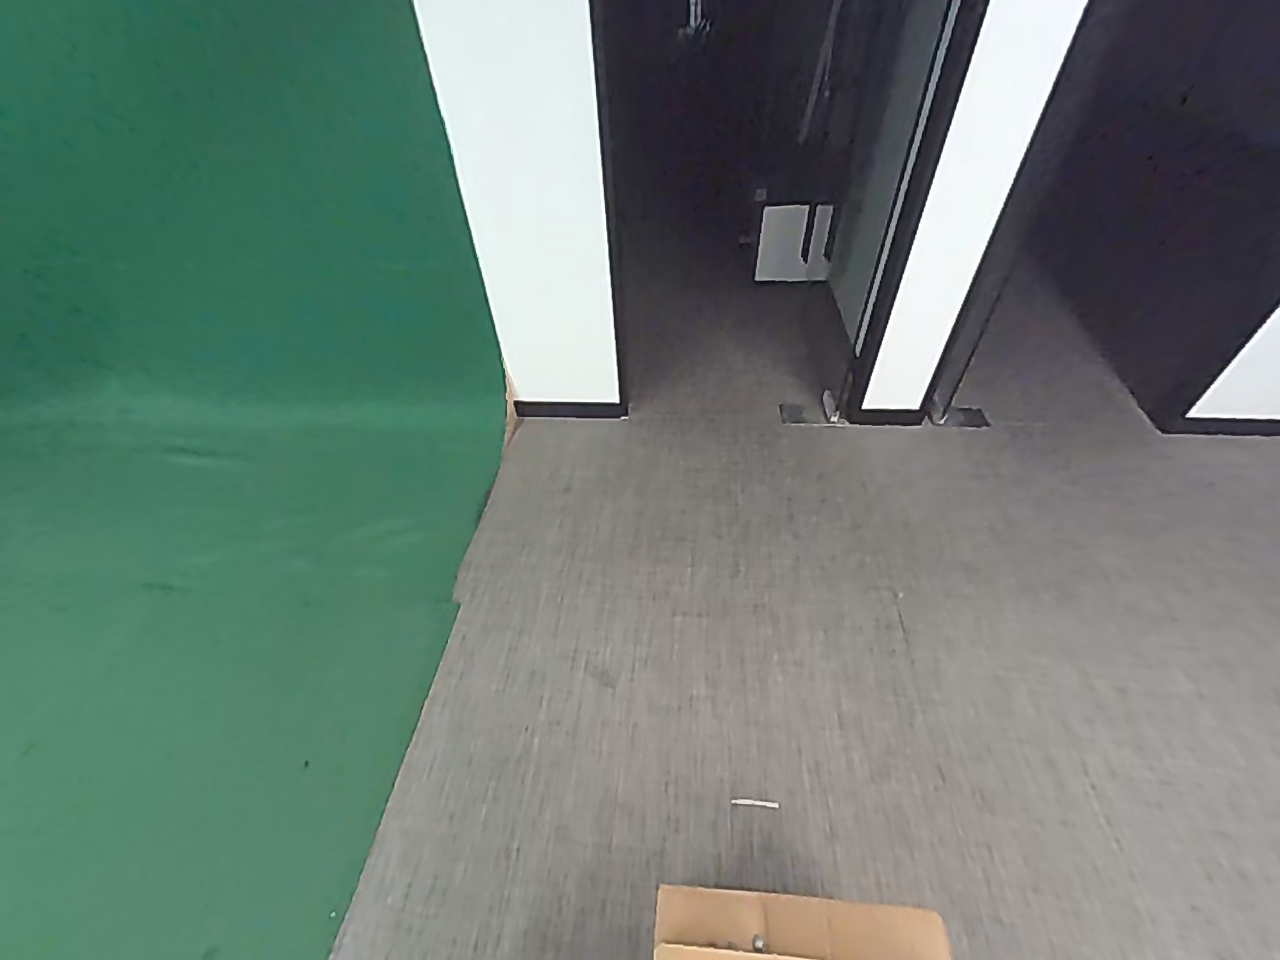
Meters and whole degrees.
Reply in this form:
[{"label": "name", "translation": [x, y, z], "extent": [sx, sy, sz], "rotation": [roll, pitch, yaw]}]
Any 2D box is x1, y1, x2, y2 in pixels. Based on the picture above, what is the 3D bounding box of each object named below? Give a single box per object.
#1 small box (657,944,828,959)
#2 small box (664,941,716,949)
[{"label": "small box", "translation": [0.095, 0.548, 0.490], "extent": [0.168, 0.176, 0.179], "rotation": [2, 45, 4]}, {"label": "small box", "translation": [0.100, 0.658, 0.618], "extent": [0.168, 0.176, 0.179], "rotation": [4, 46, 5]}]
